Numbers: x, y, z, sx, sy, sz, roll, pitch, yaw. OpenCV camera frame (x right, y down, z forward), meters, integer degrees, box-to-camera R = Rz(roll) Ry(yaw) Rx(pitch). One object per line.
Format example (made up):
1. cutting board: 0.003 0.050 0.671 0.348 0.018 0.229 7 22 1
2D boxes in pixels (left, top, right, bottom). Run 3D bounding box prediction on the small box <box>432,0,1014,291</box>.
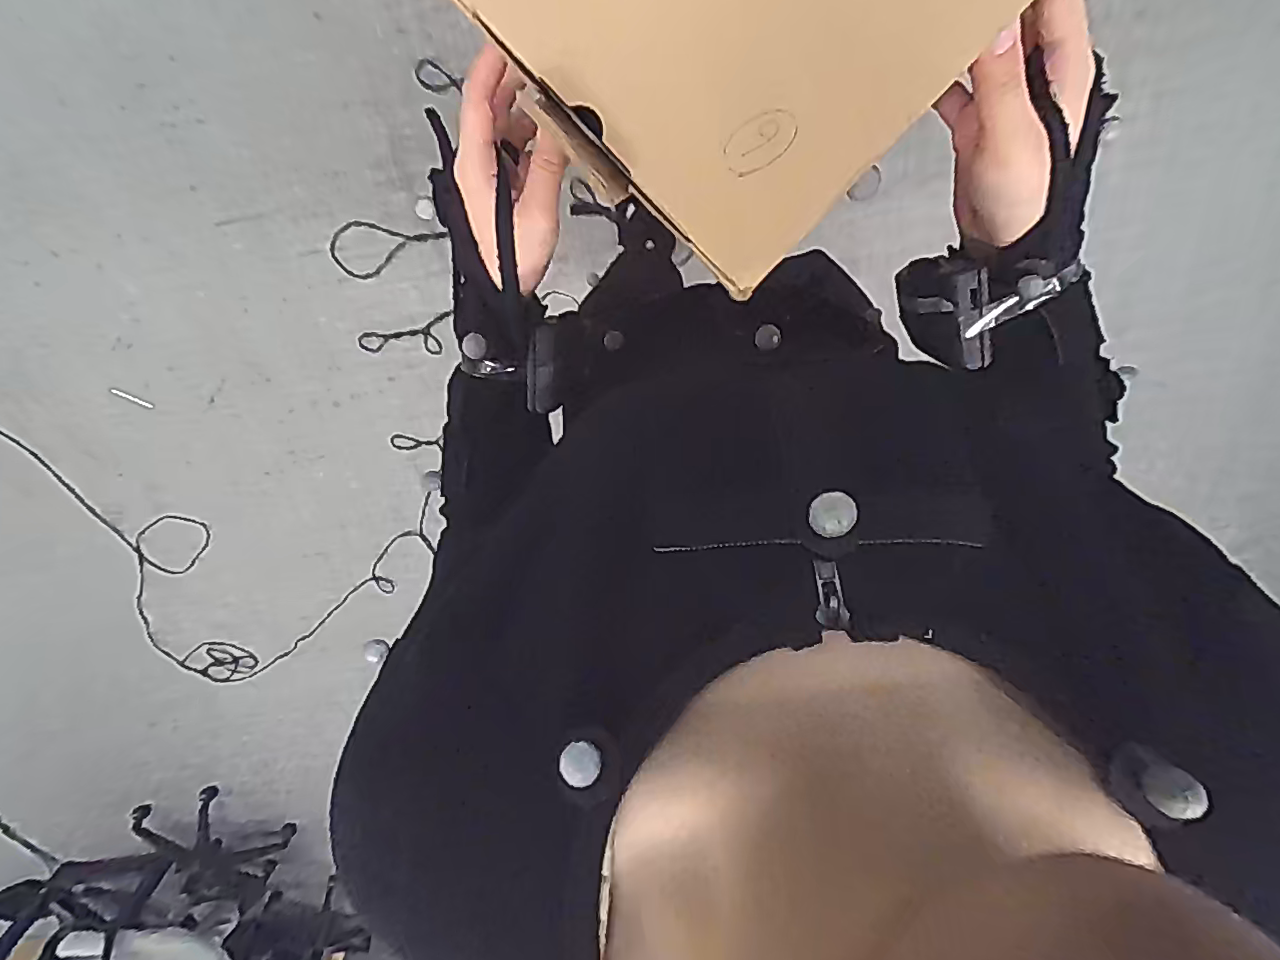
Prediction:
1. small box: 0.047 -0.212 0.248 0.168 0.176 0.179 42 112 -9
